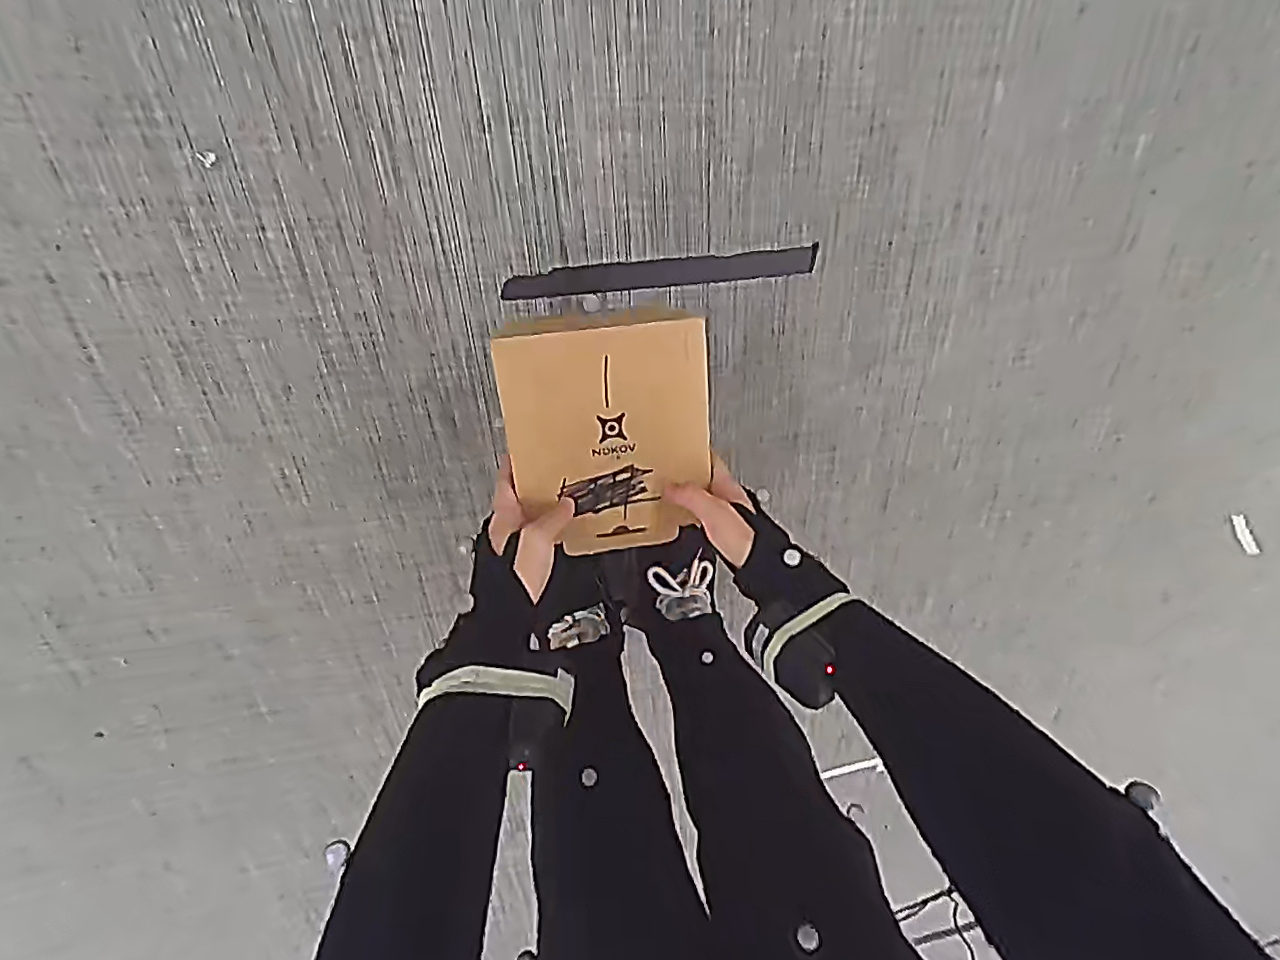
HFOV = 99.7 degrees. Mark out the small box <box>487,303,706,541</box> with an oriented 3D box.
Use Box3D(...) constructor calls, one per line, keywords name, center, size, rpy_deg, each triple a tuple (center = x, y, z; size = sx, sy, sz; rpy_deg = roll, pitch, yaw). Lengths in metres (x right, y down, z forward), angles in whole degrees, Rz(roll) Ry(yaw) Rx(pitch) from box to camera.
Box3D(name="small box", center=(-0.040, -0.066, 0.512), size=(0.168, 0.176, 0.179), rpy_deg=(-9, 112, -8))
